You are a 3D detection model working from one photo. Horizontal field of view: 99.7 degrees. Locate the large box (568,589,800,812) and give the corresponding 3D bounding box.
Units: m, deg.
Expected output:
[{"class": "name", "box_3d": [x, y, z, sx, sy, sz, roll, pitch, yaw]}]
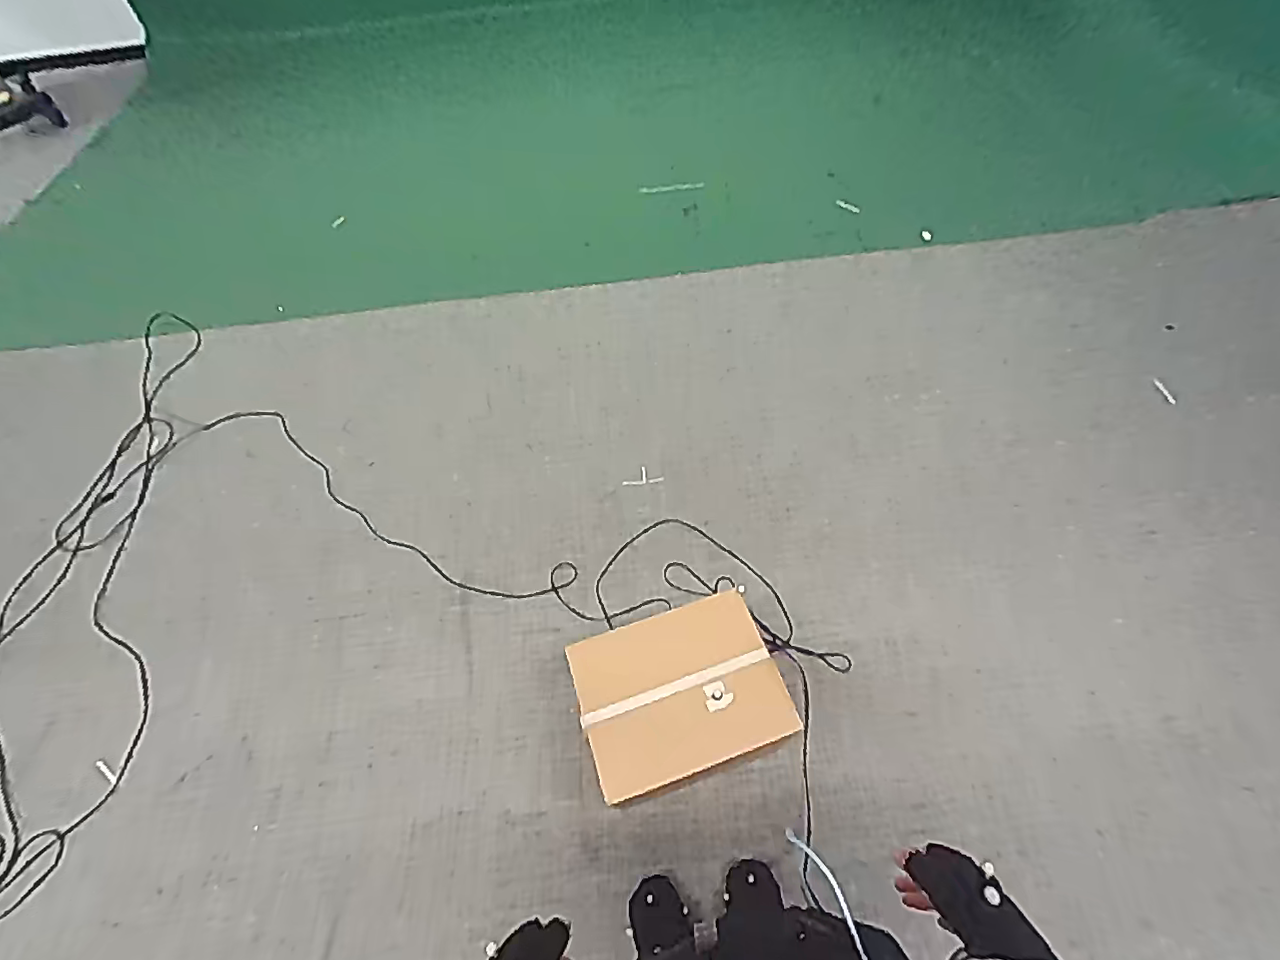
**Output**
[{"class": "large box", "box_3d": [0.084, 0.505, 1.228, 0.408, 0.320, 0.320, -17, 58, -9]}]
